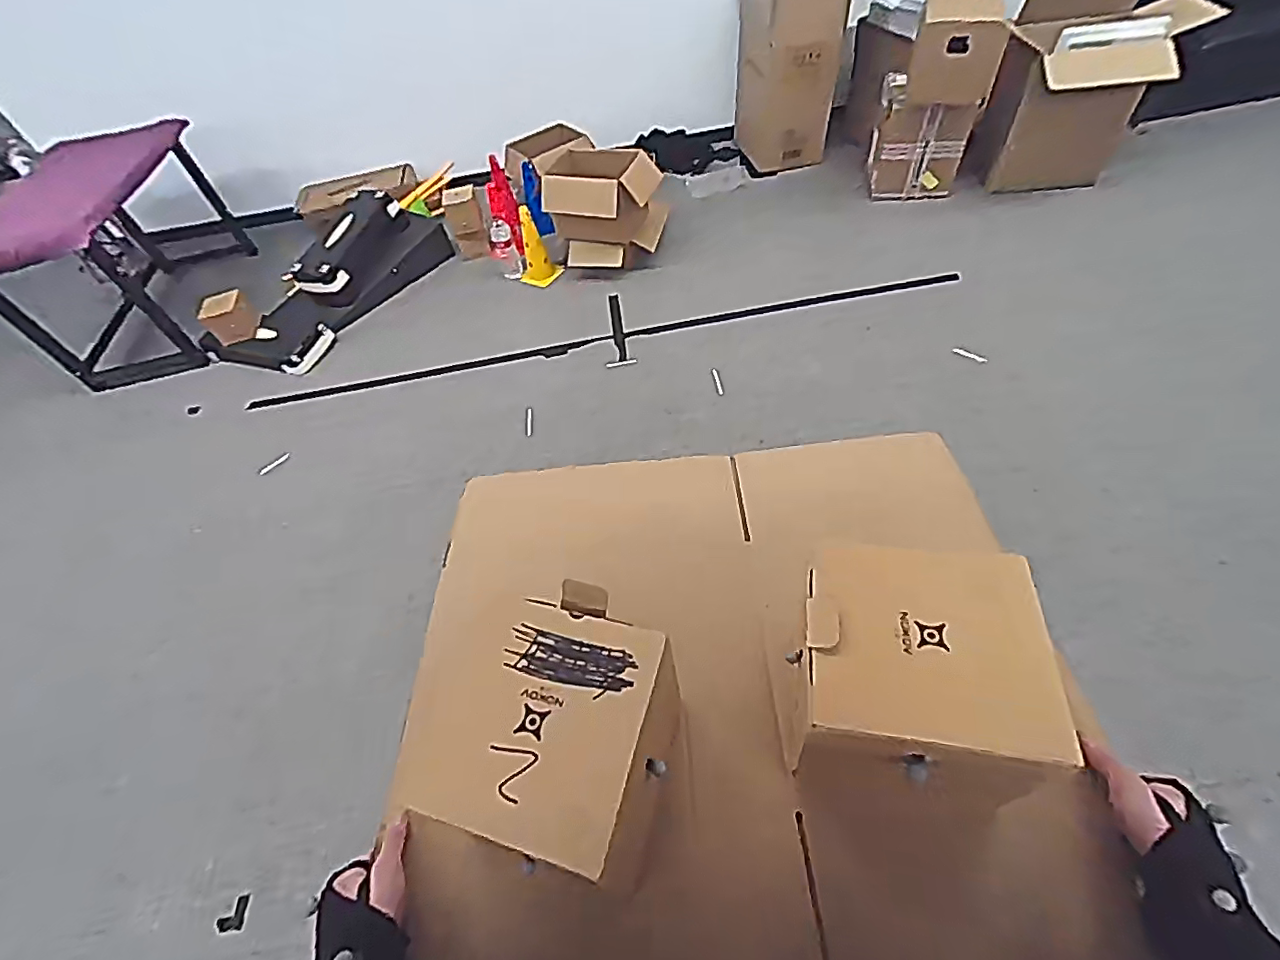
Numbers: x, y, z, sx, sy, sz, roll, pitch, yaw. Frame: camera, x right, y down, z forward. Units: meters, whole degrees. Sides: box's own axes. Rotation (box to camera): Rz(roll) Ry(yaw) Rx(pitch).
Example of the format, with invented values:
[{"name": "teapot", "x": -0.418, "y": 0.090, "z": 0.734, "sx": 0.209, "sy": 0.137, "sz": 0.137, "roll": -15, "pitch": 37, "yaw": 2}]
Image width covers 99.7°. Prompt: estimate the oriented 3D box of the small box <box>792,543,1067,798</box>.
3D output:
[{"name": "small box", "x": 0.238, "y": 0.177, "z": 0.497, "sx": 0.179, "sy": 0.176, "sz": 0.168, "roll": 2, "pitch": 51, "yaw": 15}]
